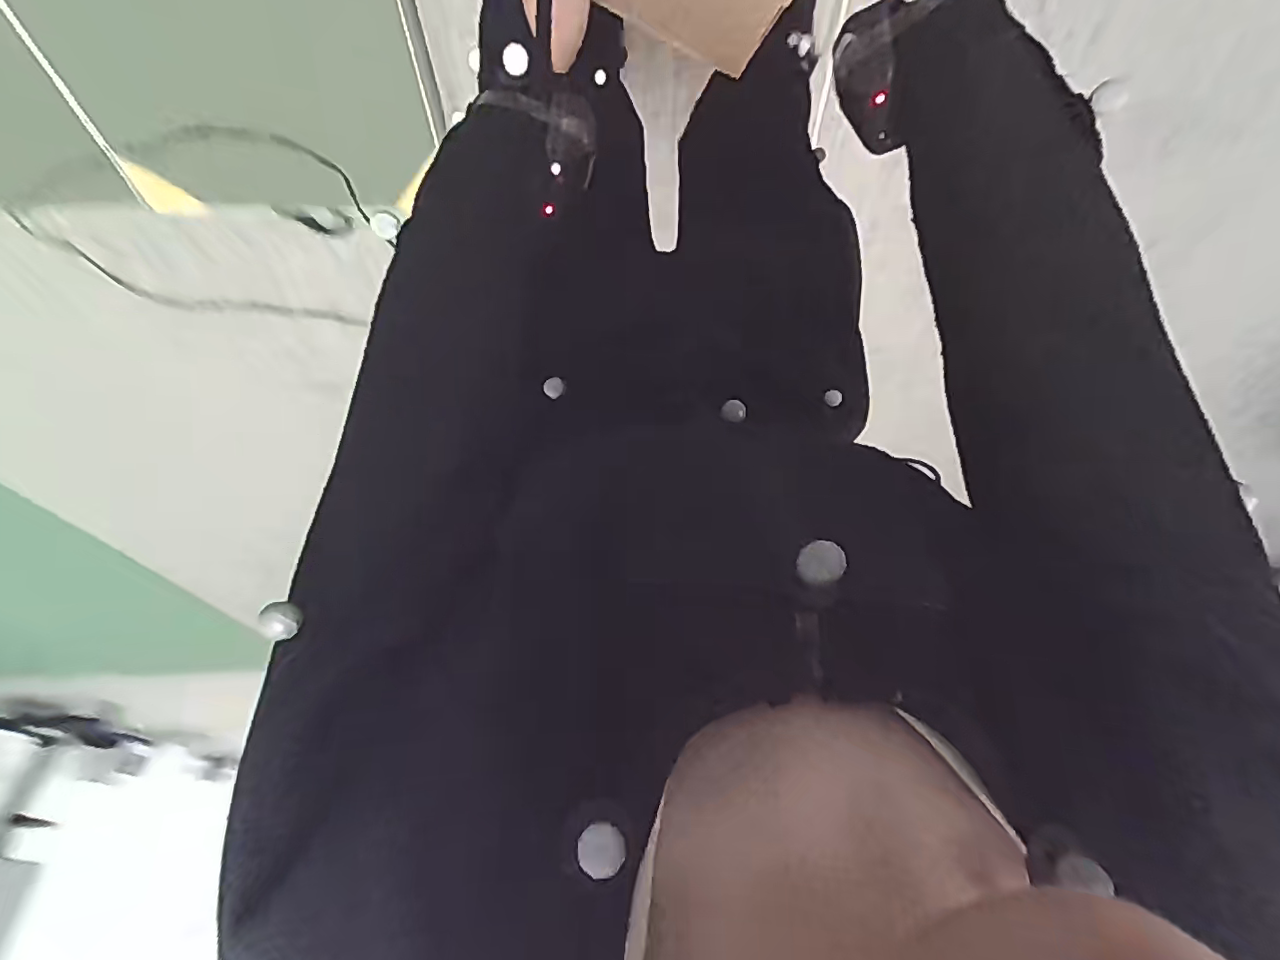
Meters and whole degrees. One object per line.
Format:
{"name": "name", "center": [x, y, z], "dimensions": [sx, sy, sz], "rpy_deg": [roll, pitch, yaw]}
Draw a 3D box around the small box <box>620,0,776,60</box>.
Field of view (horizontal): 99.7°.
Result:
{"name": "small box", "center": [0.038, -0.470, 0.388], "dimensions": [0.179, 0.176, 0.168], "rpy_deg": [8, 155, -24]}
